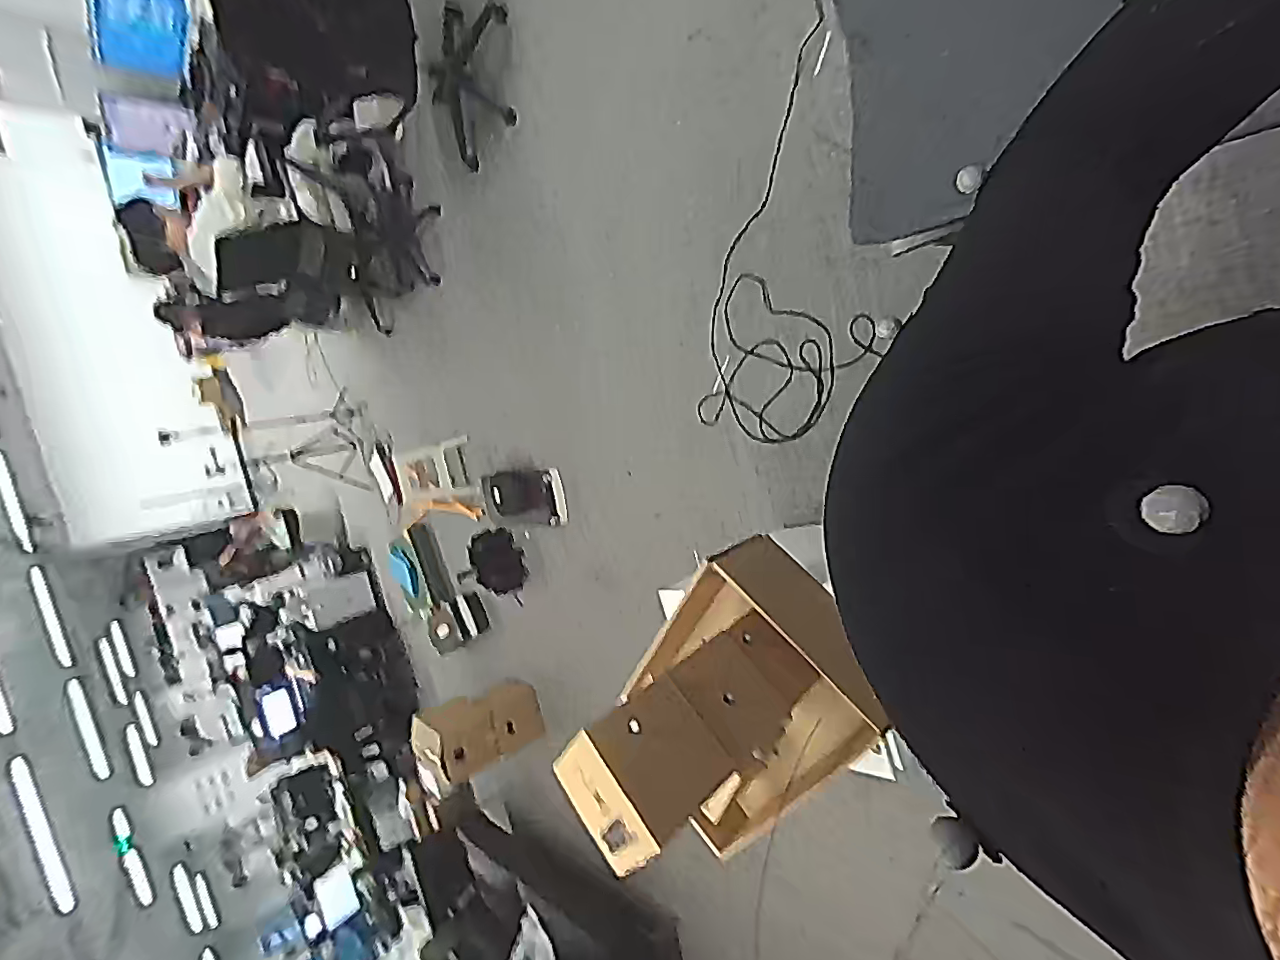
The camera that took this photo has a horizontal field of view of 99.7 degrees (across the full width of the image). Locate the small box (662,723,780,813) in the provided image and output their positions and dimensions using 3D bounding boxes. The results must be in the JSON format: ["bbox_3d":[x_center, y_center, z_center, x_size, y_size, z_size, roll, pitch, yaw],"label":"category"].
[{"bbox_3d":[0.181,0.568,1.182,0.168,0.176,0.179,38,126,32],"label":"small box"}]

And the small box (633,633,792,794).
[{"bbox_3d":[0.124,0.390,0.935,0.179,0.176,0.168,46,134,24],"label":"small box"}]
